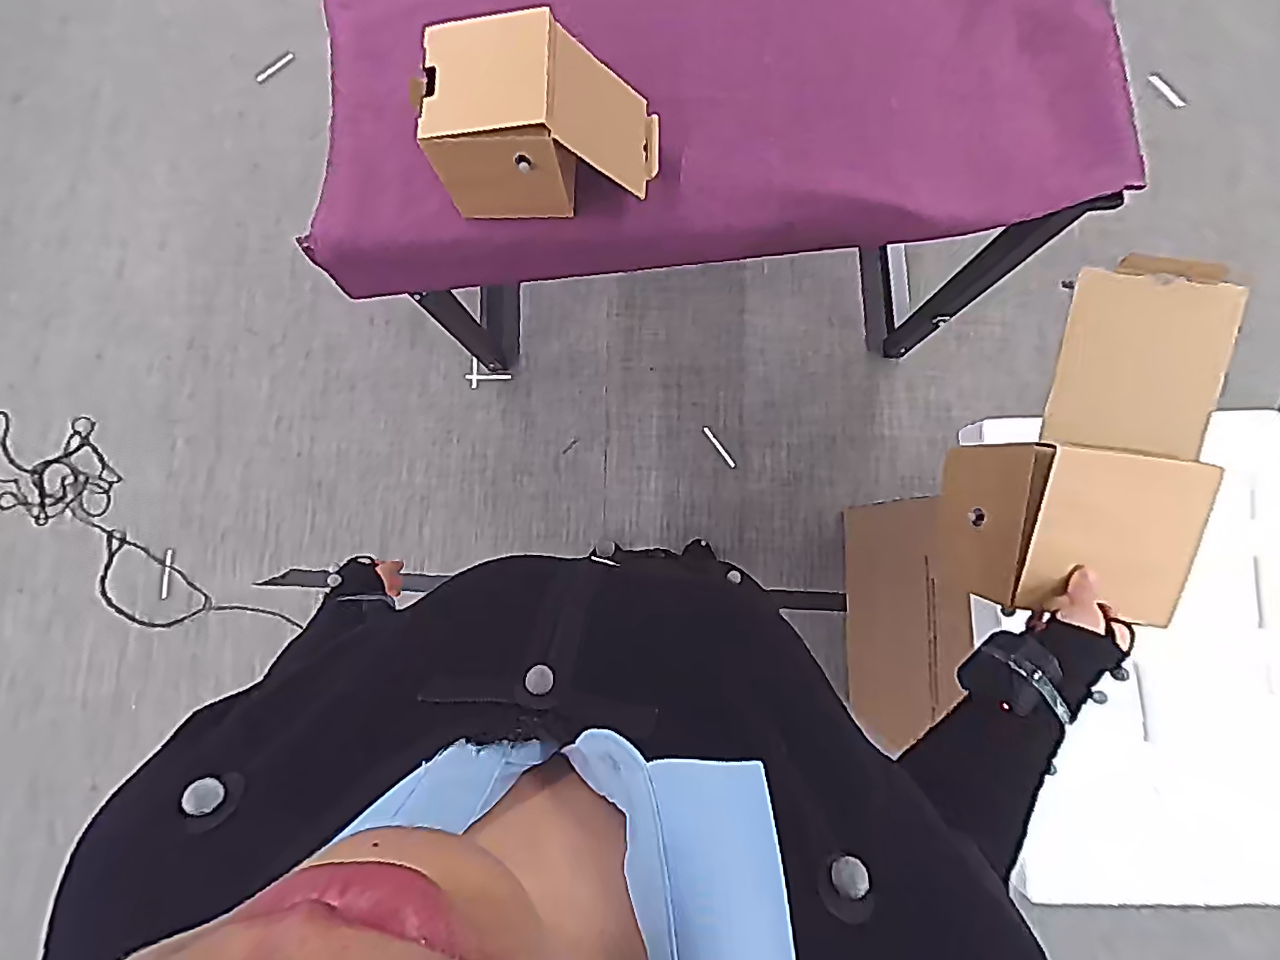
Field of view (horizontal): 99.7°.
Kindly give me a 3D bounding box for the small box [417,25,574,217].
[{"bbox_3d":[-0.193,-0.500,0.775,0.179,0.176,0.168,1,82,3],"label":"small box"}]
